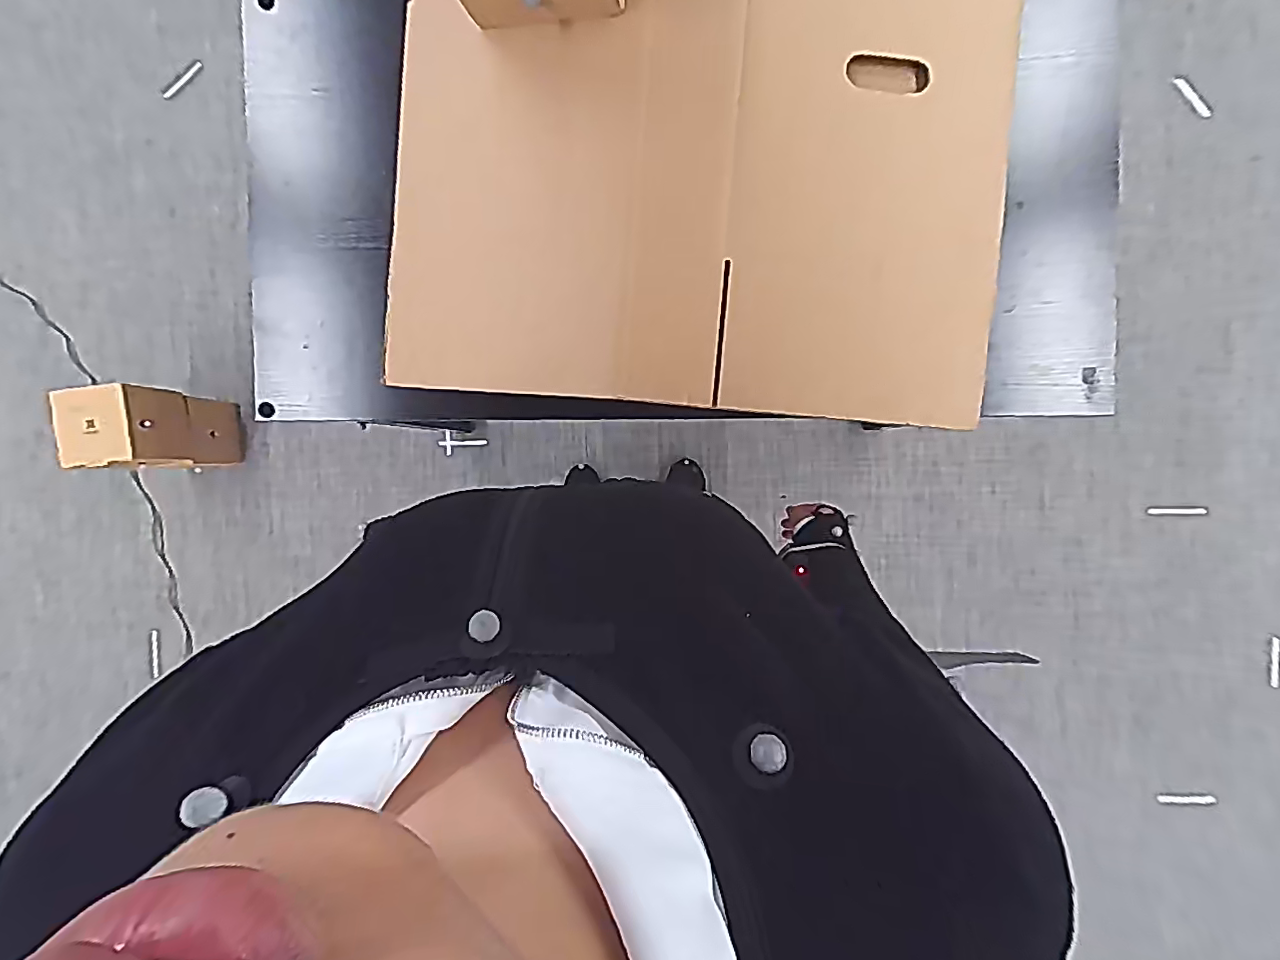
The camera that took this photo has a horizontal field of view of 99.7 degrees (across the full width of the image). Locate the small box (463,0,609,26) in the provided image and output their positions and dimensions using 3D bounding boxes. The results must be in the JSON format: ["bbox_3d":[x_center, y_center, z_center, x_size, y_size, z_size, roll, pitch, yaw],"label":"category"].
[{"bbox_3d":[-0.111,-0.583,0.514,0.179,0.176,0.168,6,92,14],"label":"small box"}]

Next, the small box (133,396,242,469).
[{"bbox_3d":[-1.207,-0.122,1.443,0.168,0.176,0.179,-4,92,2],"label":"small box"}]

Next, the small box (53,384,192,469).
[{"bbox_3d":[-1.211,-0.122,1.280,0.168,0.176,0.179,-7,91,1],"label":"small box"}]
